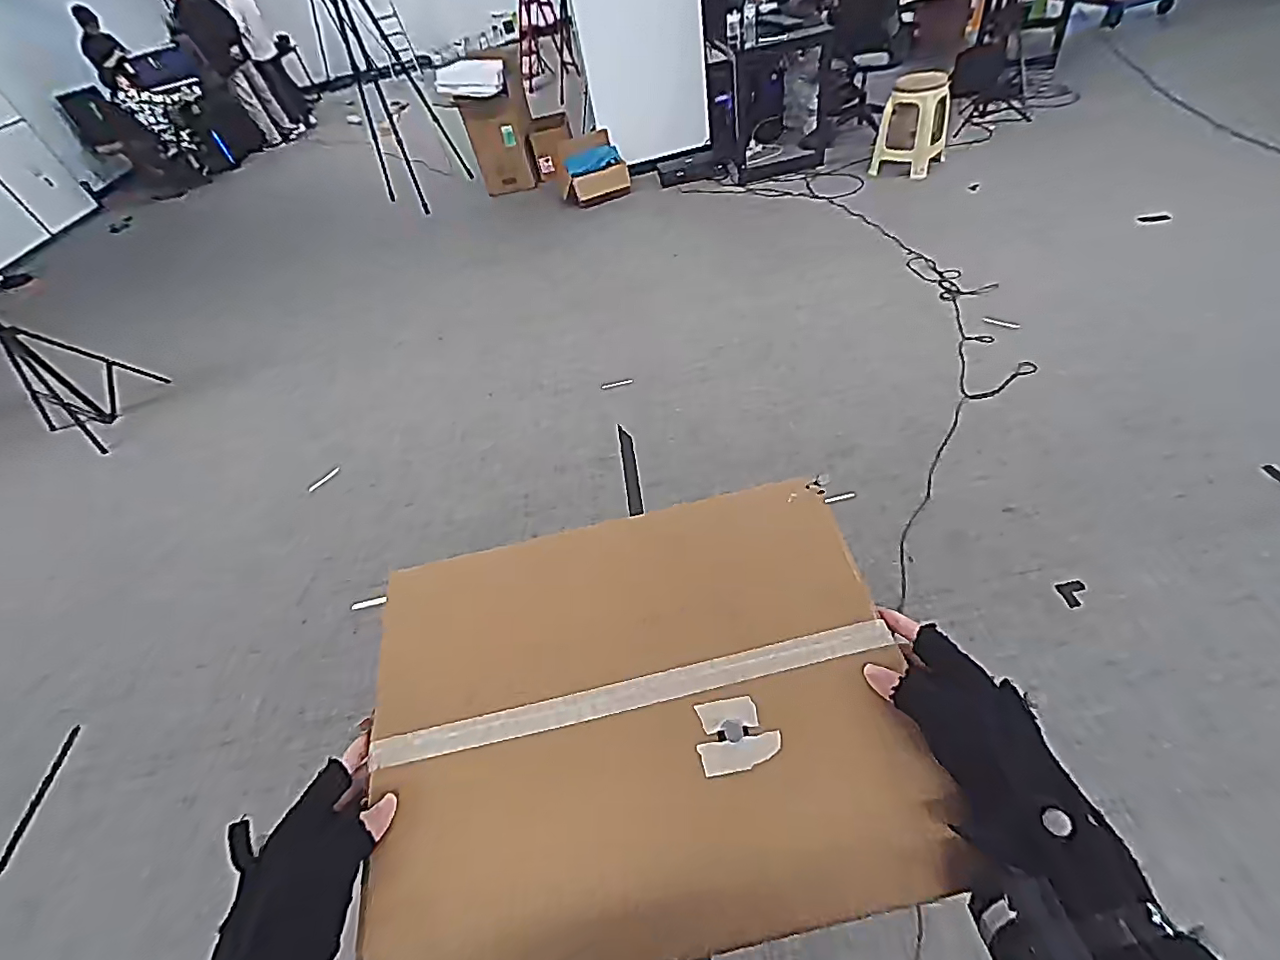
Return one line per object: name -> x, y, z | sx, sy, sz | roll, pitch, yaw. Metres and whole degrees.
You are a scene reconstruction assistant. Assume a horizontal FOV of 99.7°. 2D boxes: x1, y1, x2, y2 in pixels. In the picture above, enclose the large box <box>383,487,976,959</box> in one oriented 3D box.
large box -> 0.016, 0.258, 0.551 | 0.408, 0.320, 0.320 | -13, 54, -1
